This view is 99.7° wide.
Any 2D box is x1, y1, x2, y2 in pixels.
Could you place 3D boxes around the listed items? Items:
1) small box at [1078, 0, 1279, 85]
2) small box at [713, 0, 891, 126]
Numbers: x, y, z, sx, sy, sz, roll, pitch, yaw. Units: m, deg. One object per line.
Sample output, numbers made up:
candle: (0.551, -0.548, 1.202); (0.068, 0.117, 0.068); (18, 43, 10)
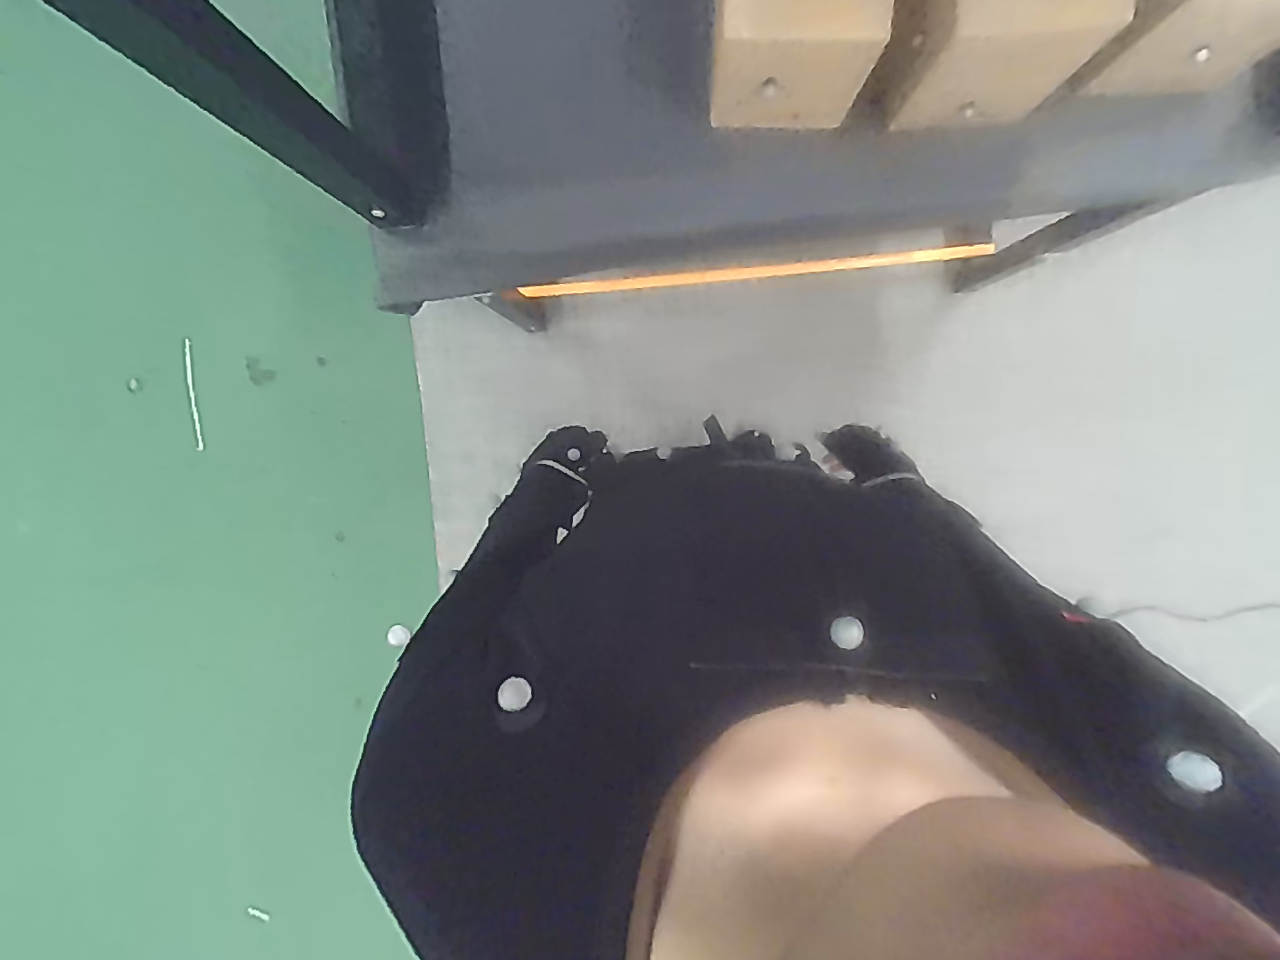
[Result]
small box: (0.612, -0.556, 0.576); (0.168, 0.176, 0.179); (-1, 95, 3)
small box: (0.172, -0.529, 0.607); (0.168, 0.176, 0.179); (2, 96, 3)
